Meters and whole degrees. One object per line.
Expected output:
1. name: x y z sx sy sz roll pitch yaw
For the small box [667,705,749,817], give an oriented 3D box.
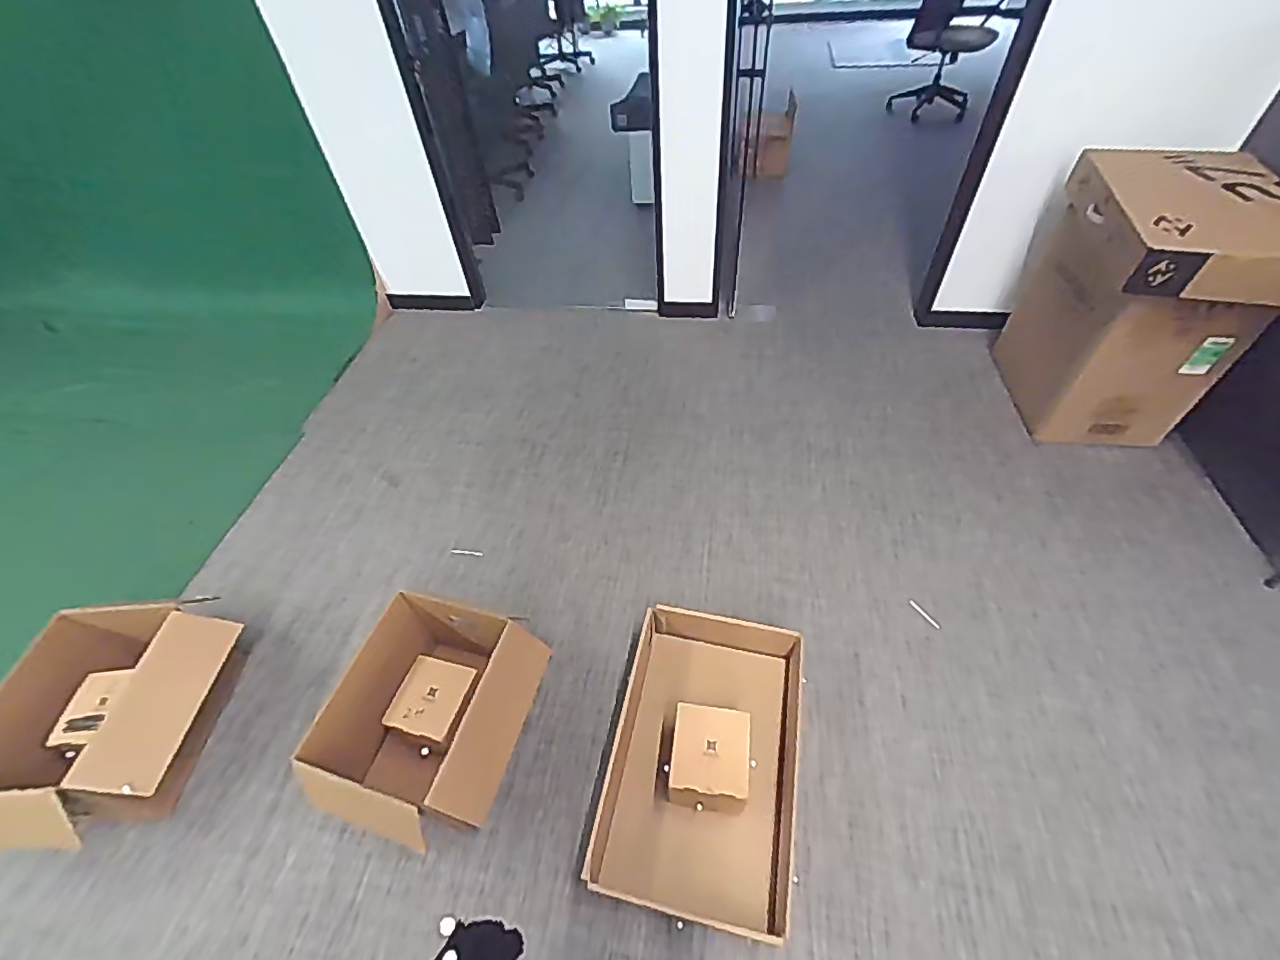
1. small box: 0.150 0.634 1.218 0.168 0.176 0.179 5 49 7
